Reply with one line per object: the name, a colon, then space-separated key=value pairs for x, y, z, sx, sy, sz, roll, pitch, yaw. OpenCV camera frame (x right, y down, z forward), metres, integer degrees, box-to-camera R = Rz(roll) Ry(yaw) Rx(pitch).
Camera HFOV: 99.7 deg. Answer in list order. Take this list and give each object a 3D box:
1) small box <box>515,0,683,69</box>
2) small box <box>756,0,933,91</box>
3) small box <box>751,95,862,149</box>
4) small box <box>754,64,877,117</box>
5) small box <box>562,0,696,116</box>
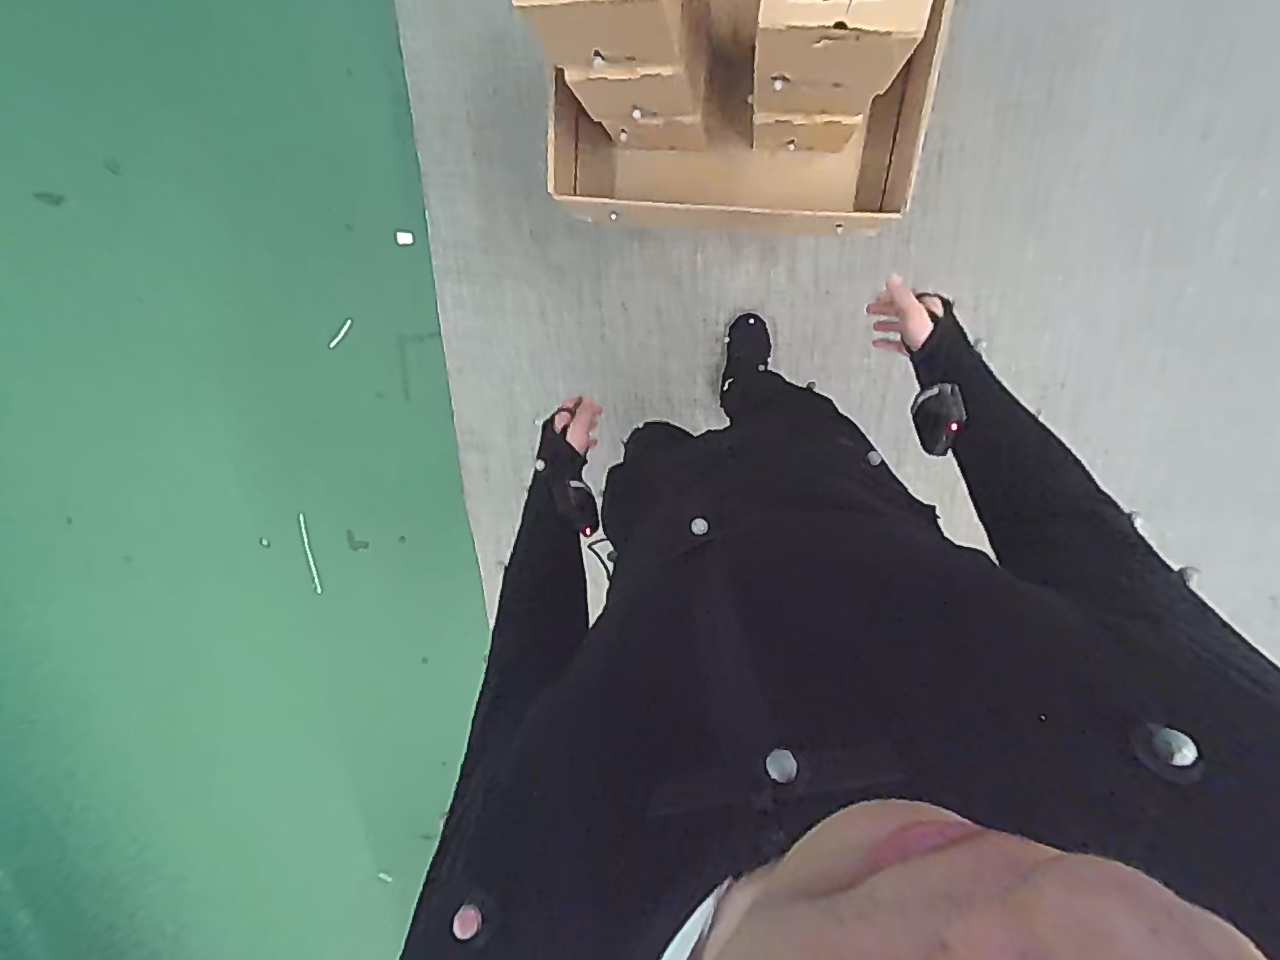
small box: x=-0.039 y=-0.600 z=0.606 sx=0.168 sy=0.176 sz=0.179 roll=5 pitch=109 yaw=8
small box: x=0.223 y=-0.550 z=0.583 sx=0.168 sy=0.176 sz=0.179 roll=10 pitch=111 yaw=6
small box: x=0.276 y=-0.667 z=0.887 sx=0.168 sy=0.176 sz=0.179 roll=6 pitch=111 yaw=7
small box: x=0.250 y=-0.622 z=0.730 sx=0.168 sy=0.176 sz=0.179 roll=8 pitch=110 yaw=7
small box: x=-0.010 y=-0.642 z=0.762 sx=0.168 sy=0.176 sz=0.179 roll=4 pitch=109 yaw=8
